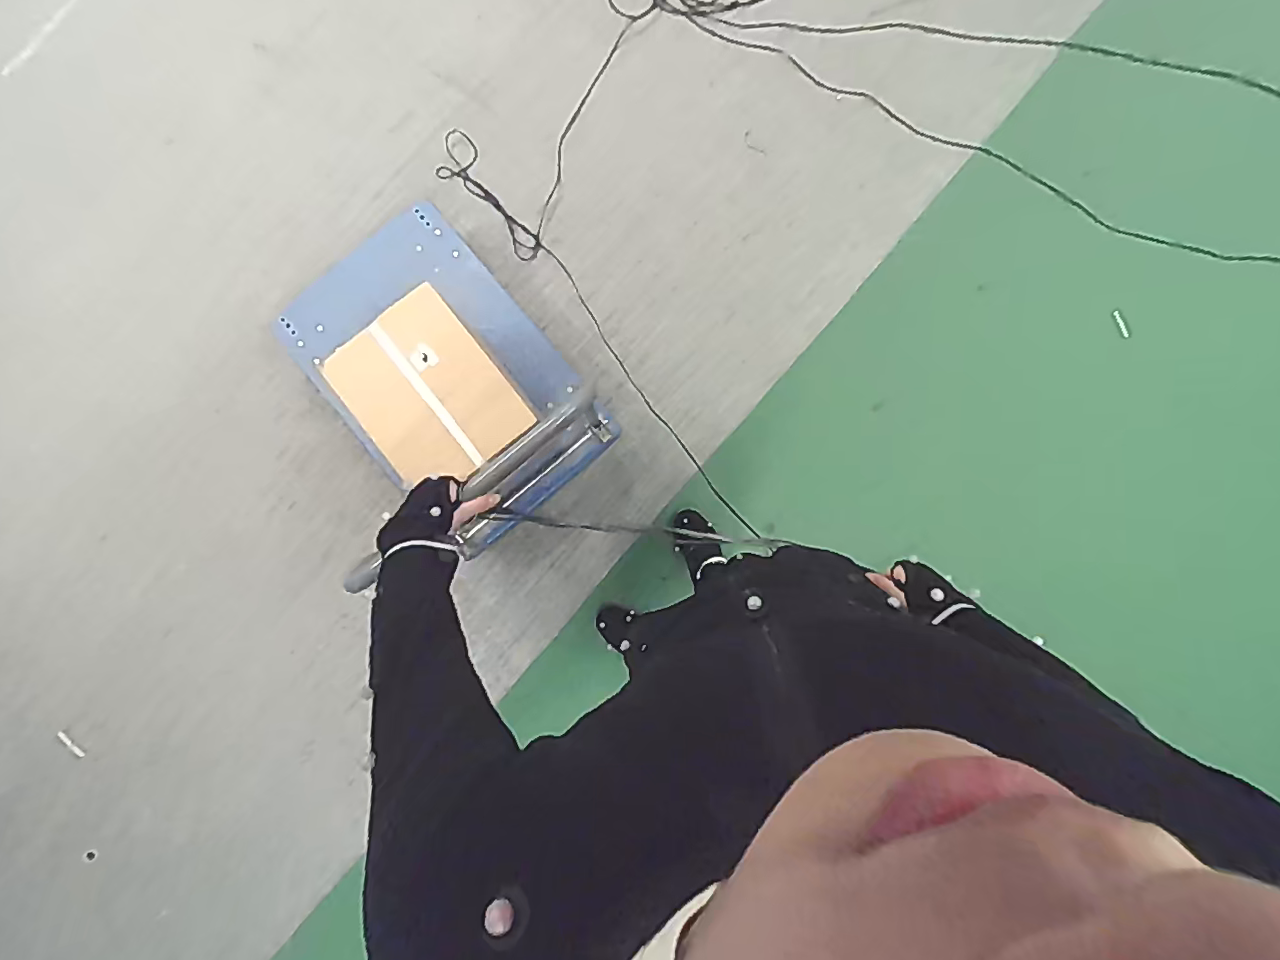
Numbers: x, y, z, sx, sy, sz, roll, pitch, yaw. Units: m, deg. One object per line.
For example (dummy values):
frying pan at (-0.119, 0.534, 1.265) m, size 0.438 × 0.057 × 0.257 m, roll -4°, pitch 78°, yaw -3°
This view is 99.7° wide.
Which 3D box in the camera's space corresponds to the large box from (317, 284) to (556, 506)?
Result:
large box at (-0.467, -0.182, 1.330) m, size 0.320 × 0.320 × 0.408 m, roll -39°, pitch 87°, yaw -3°
